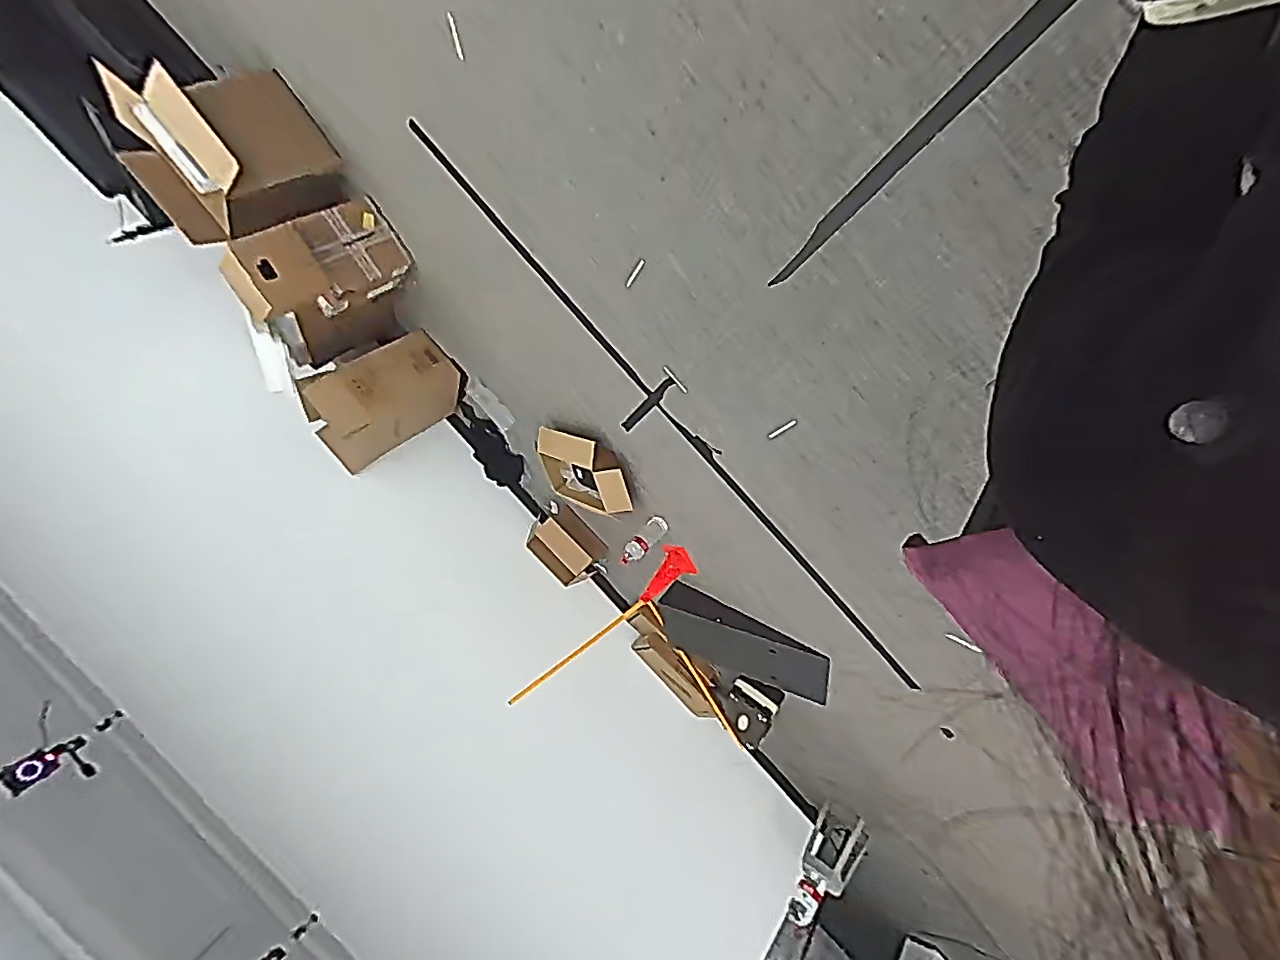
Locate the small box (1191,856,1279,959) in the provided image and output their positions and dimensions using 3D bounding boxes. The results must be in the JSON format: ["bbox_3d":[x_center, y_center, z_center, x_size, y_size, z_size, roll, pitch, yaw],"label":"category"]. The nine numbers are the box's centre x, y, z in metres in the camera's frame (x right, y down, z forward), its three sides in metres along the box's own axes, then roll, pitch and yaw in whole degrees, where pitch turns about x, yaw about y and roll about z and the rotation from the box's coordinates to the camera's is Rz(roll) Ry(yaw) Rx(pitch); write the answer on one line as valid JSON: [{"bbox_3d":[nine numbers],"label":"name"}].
[{"bbox_3d":[0.590,0.444,0.426,0.168,0.176,0.179,49,149,-4],"label":"small box"}]
